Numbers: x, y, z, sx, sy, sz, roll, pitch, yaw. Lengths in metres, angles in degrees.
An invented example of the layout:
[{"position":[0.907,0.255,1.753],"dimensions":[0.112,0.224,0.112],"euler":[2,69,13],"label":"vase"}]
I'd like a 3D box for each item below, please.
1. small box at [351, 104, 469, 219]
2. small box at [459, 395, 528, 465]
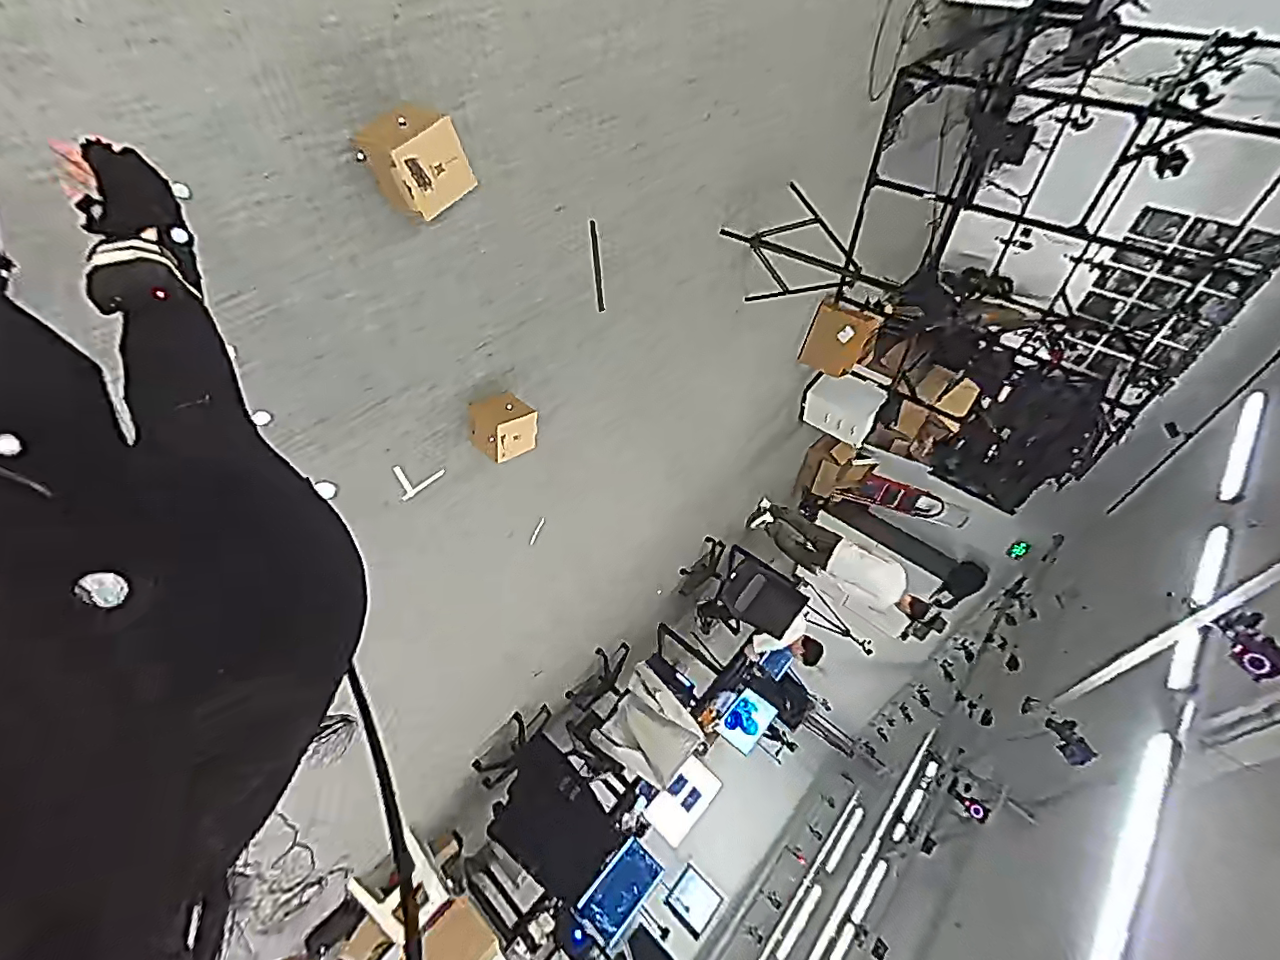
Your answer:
[{"position":[-0.552,-0.761,1.288],"dimensions":[0.179,0.176,0.168],"euler":[-47,152,-20],"label":"small box"},{"position":[-0.533,-0.189,1.964],"dimensions":[0.179,0.176,0.168],"euler":[-30,144,-42],"label":"small box"}]
